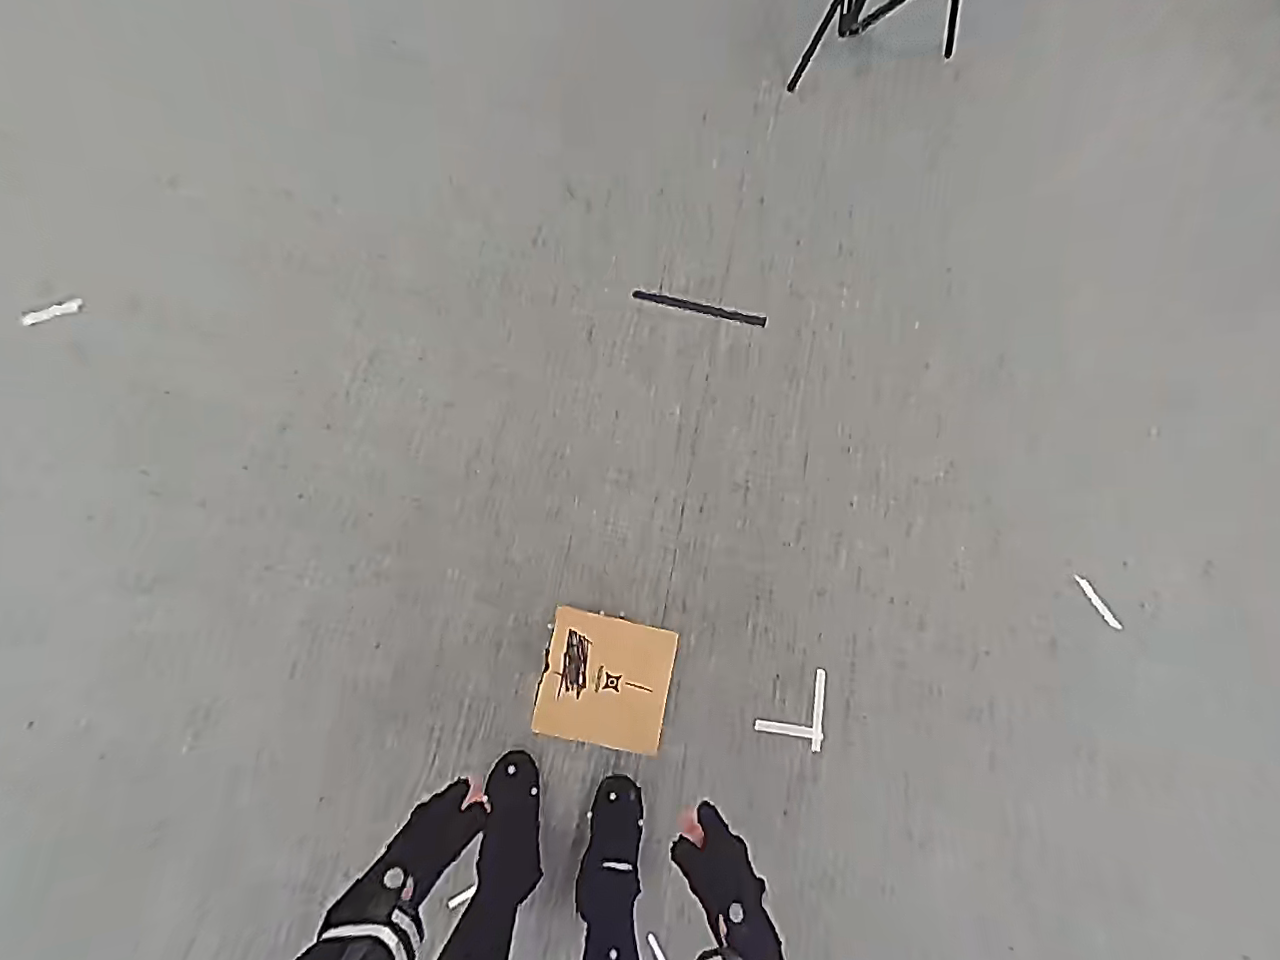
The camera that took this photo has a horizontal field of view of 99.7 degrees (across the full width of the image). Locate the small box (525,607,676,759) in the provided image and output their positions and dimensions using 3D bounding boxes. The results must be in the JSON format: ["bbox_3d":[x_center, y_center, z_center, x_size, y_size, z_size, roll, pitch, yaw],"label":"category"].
[{"bbox_3d":[-0.060,0.294,0.808,0.179,0.176,0.168,14,74,-4],"label":"small box"}]
